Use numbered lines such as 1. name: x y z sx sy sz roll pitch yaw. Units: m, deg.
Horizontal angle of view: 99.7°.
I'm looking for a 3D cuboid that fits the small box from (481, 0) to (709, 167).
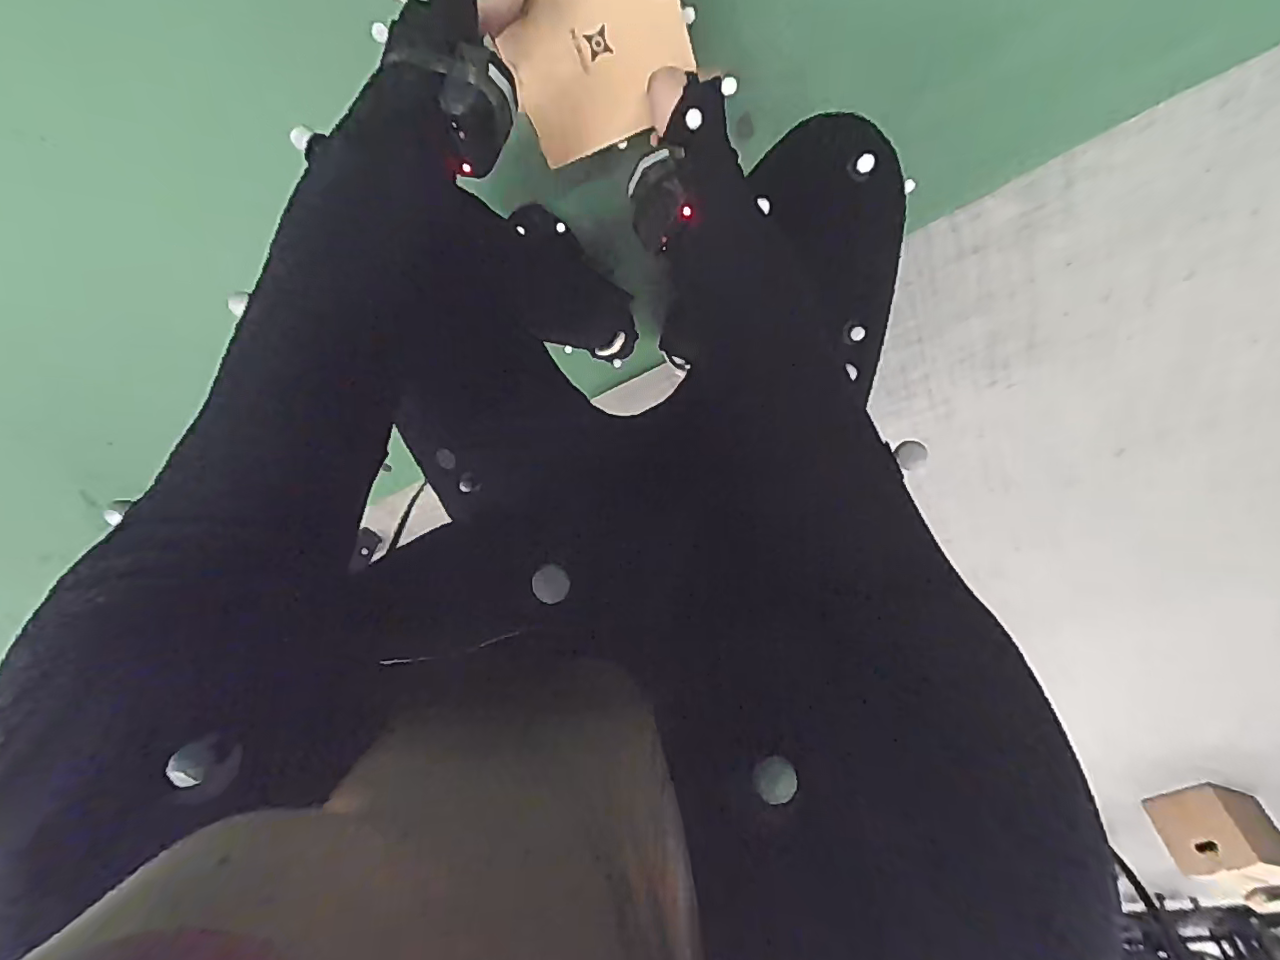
1. small box: -0.043 -0.461 0.549 0.179 0.176 0.168 -16 136 12
